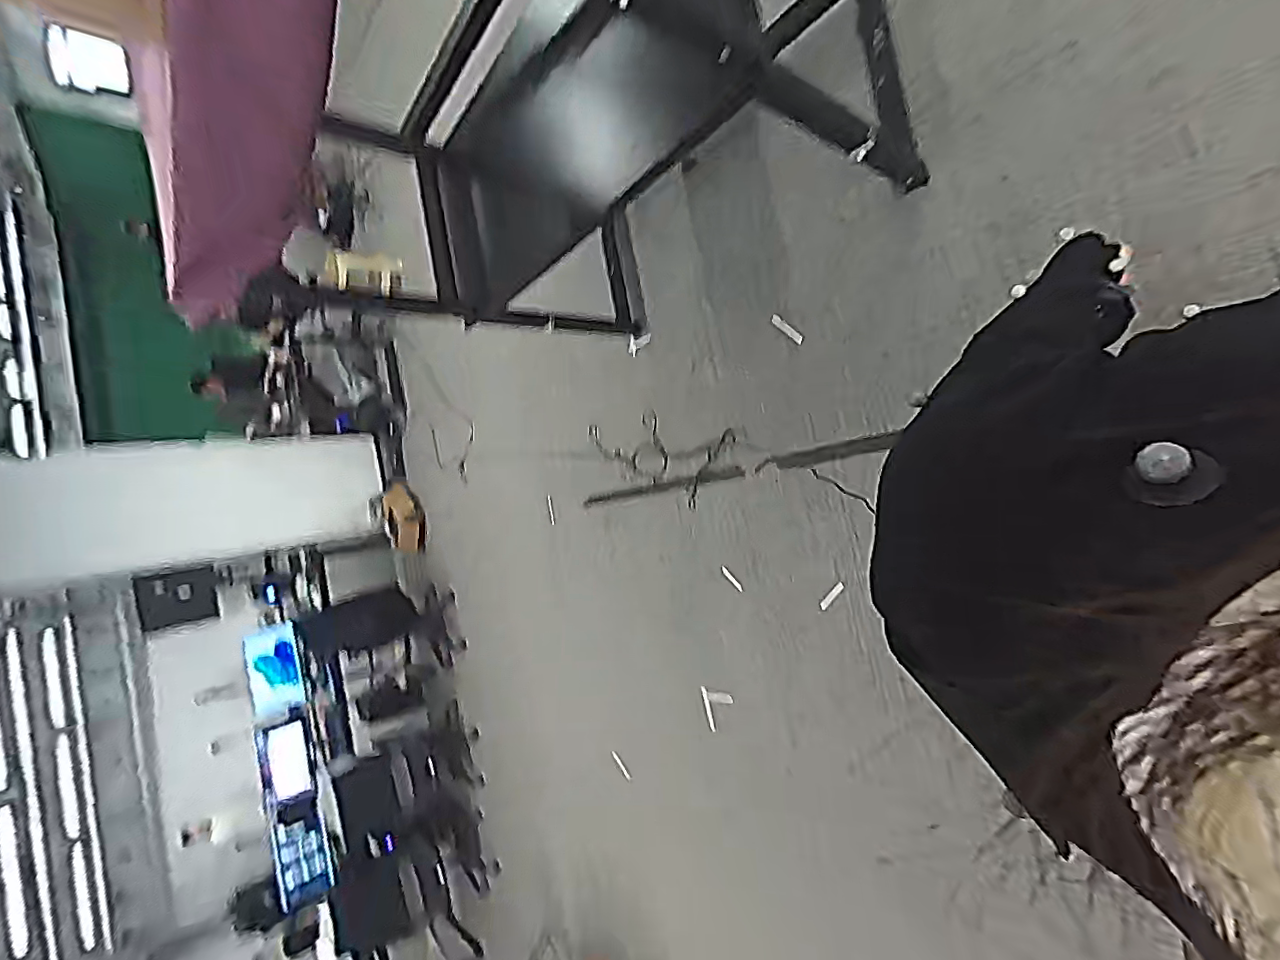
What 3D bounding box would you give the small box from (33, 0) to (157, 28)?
[{"bbox_3d":[-0.682,-0.685,0.632,0.168,0.176,0.179,-18,81,48],"label":"small box"}]
